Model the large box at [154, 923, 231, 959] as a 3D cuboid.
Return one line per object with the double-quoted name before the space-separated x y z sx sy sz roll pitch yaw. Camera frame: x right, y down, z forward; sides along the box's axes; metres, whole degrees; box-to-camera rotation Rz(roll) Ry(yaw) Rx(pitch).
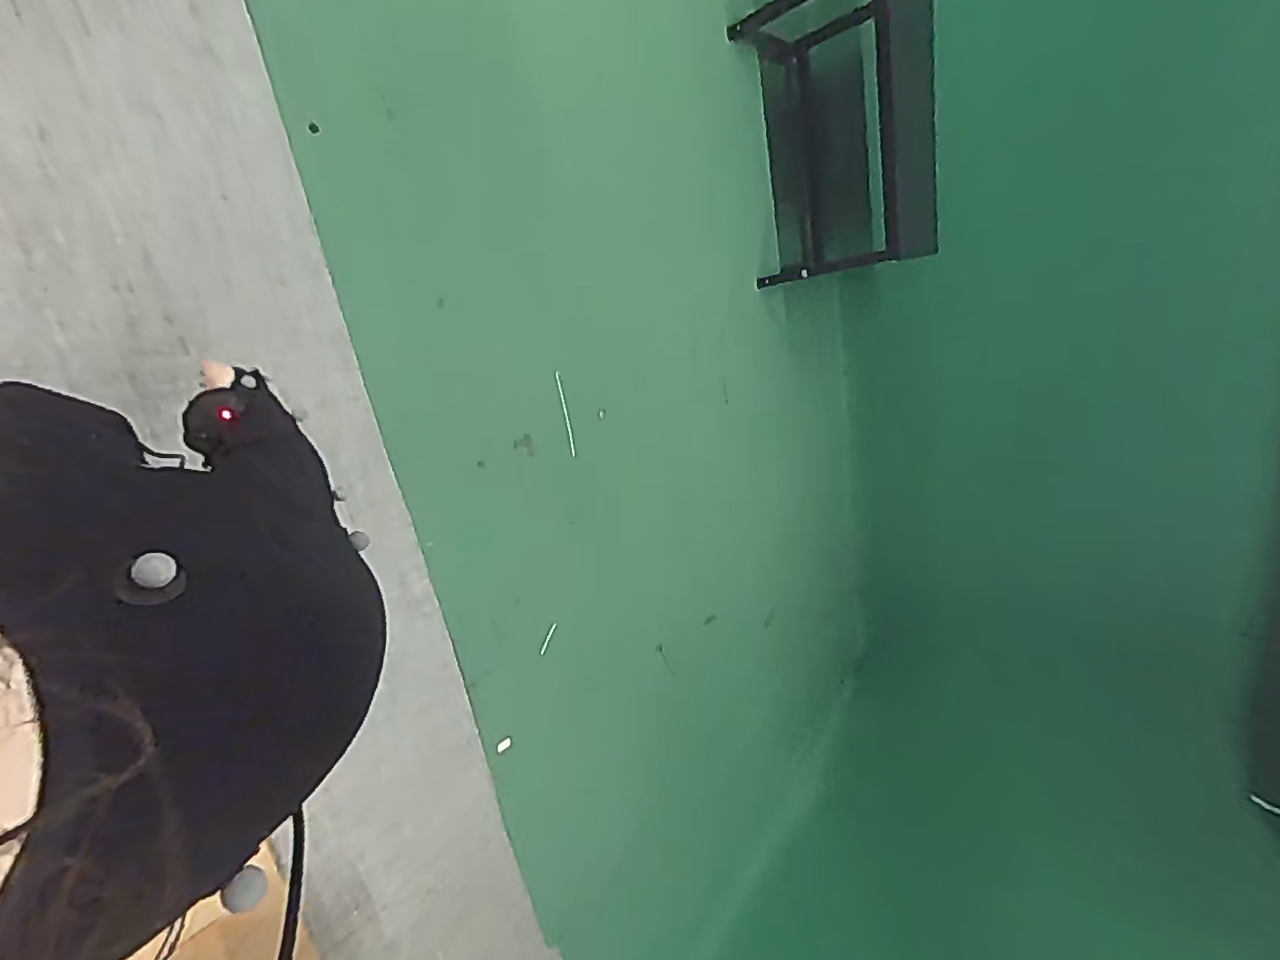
"large box" -0.996 1.239 1.068 0.408 0.320 0.320 -28 113 -43
